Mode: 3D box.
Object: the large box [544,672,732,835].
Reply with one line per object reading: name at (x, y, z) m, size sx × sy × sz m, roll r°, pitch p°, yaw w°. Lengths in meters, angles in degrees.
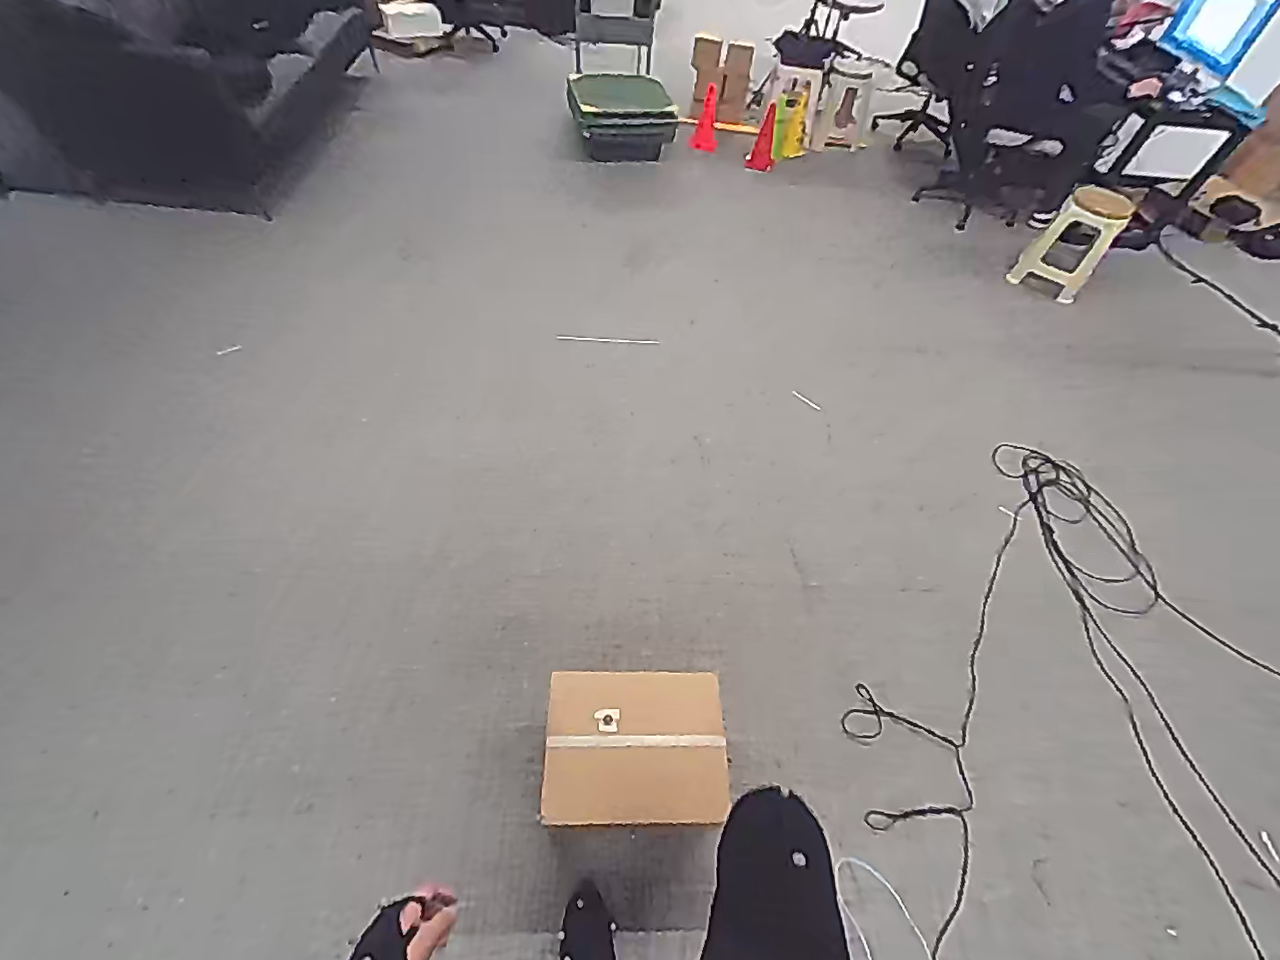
large box at (-0.017, 0.683, 1.339) m, size 0.408 × 0.320 × 0.320 m, roll 1°, pitch 53°, yaw -4°
